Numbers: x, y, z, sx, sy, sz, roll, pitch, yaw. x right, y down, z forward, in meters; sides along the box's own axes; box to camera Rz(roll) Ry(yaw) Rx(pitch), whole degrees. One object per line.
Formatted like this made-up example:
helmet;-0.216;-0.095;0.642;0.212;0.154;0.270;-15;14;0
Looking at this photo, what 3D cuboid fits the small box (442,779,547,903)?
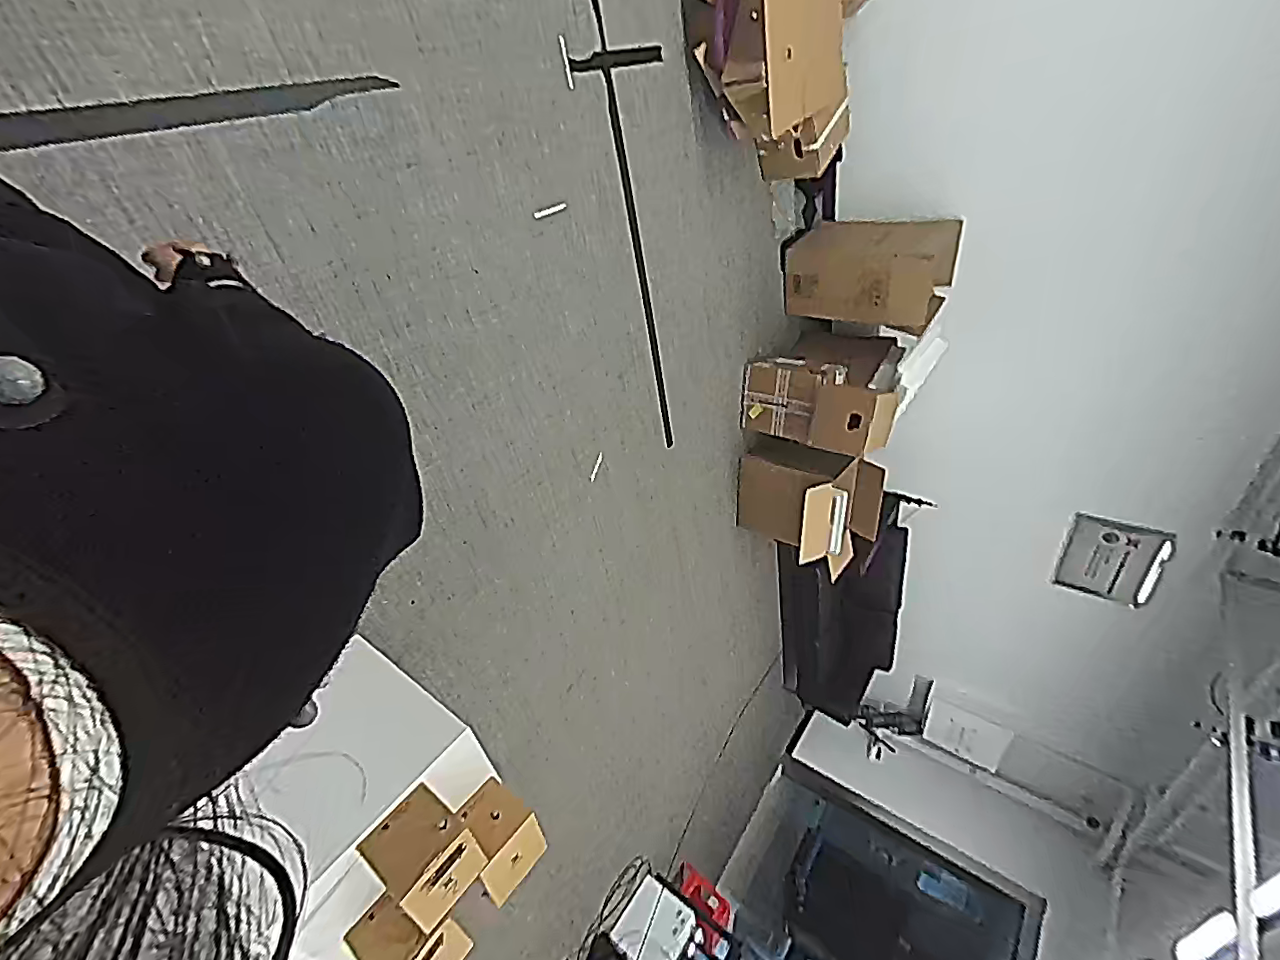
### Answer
small box;-0.365;0.891;1.354;0.168;0.176;0.179;-38;133;-39
